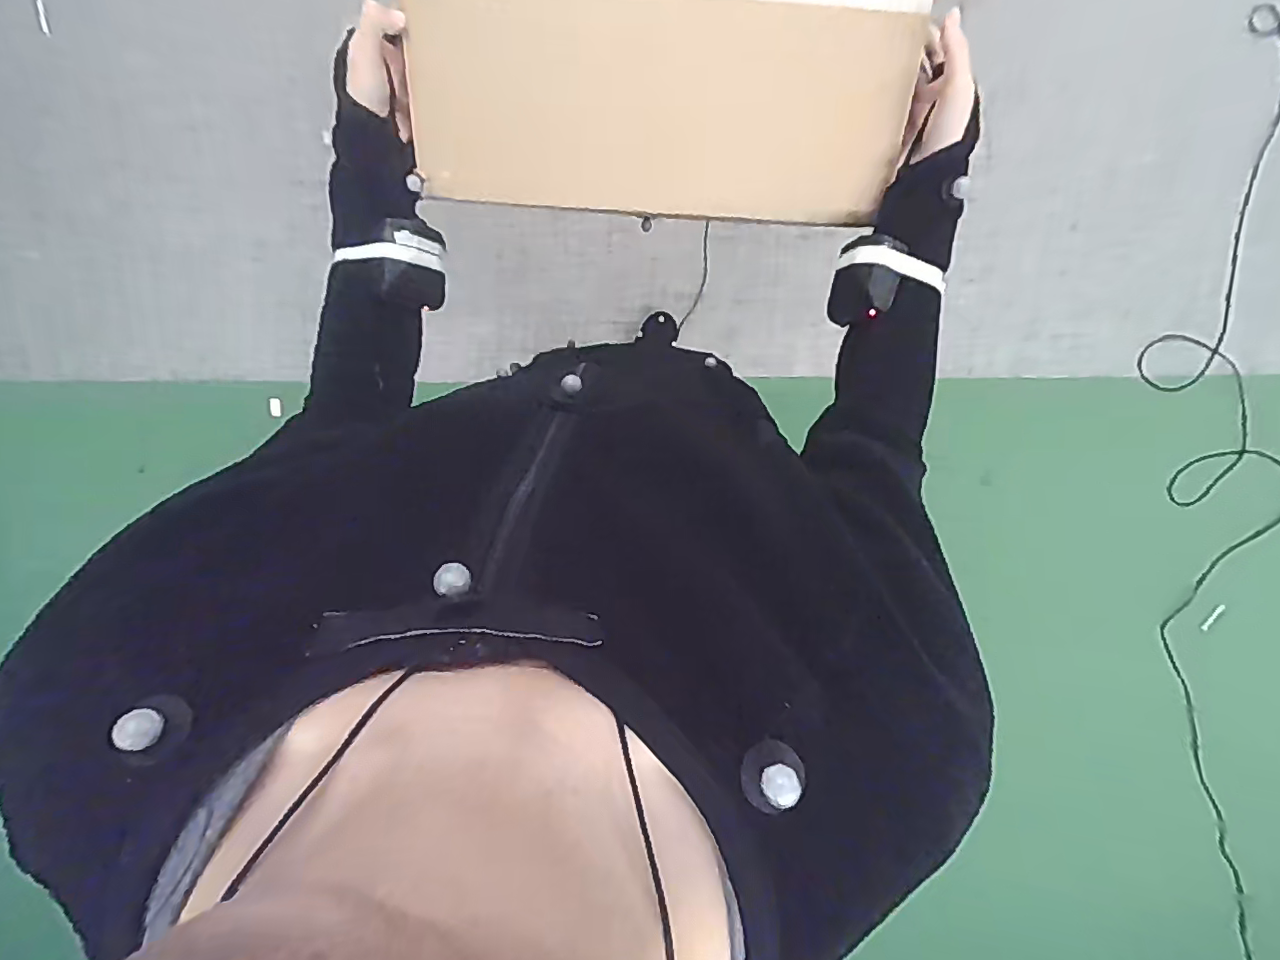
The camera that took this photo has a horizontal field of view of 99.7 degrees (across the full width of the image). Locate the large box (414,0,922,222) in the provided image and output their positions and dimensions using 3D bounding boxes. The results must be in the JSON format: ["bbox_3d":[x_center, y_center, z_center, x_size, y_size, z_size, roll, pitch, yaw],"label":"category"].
[{"bbox_3d":[0.022,-0.445,0.550,0.408,0.320,0.320,2,115,-2],"label":"large box"}]
